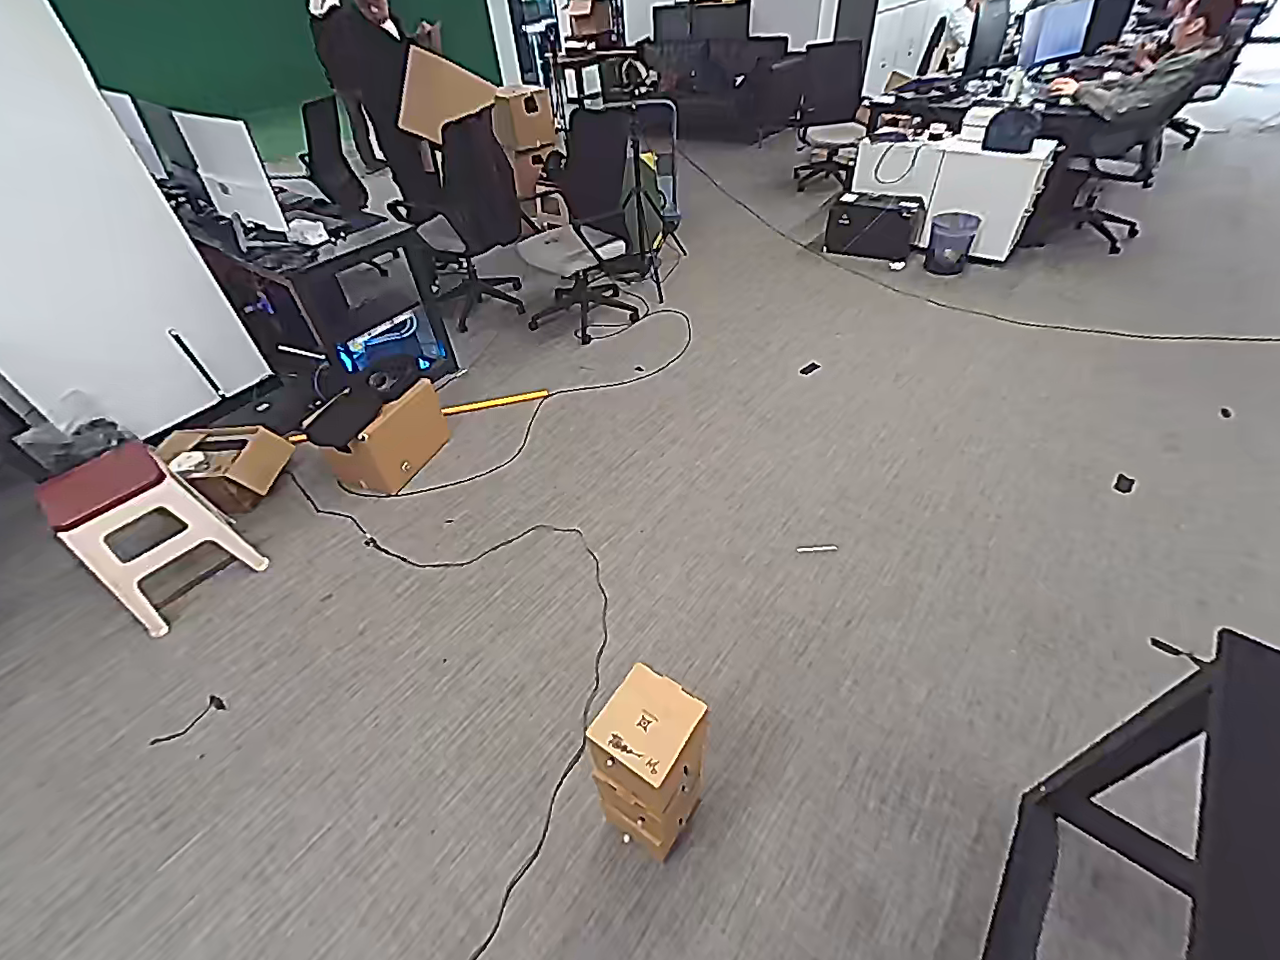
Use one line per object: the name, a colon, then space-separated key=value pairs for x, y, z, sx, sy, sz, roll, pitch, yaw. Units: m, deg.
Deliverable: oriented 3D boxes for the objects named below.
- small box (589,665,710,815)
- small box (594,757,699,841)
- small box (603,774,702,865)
small box: x=0.021 y=0.511 z=1.063 sx=0.168 sy=0.176 sz=0.179 roll=24 pitch=50 yaw=27
small box: x=0.024 y=0.636 z=1.170 sx=0.168 sy=0.176 sz=0.179 roll=21 pitch=48 yaw=24
small box: x=0.032 y=0.758 z=1.277 sx=0.168 sy=0.176 sz=0.179 roll=23 pitch=51 yaw=27
